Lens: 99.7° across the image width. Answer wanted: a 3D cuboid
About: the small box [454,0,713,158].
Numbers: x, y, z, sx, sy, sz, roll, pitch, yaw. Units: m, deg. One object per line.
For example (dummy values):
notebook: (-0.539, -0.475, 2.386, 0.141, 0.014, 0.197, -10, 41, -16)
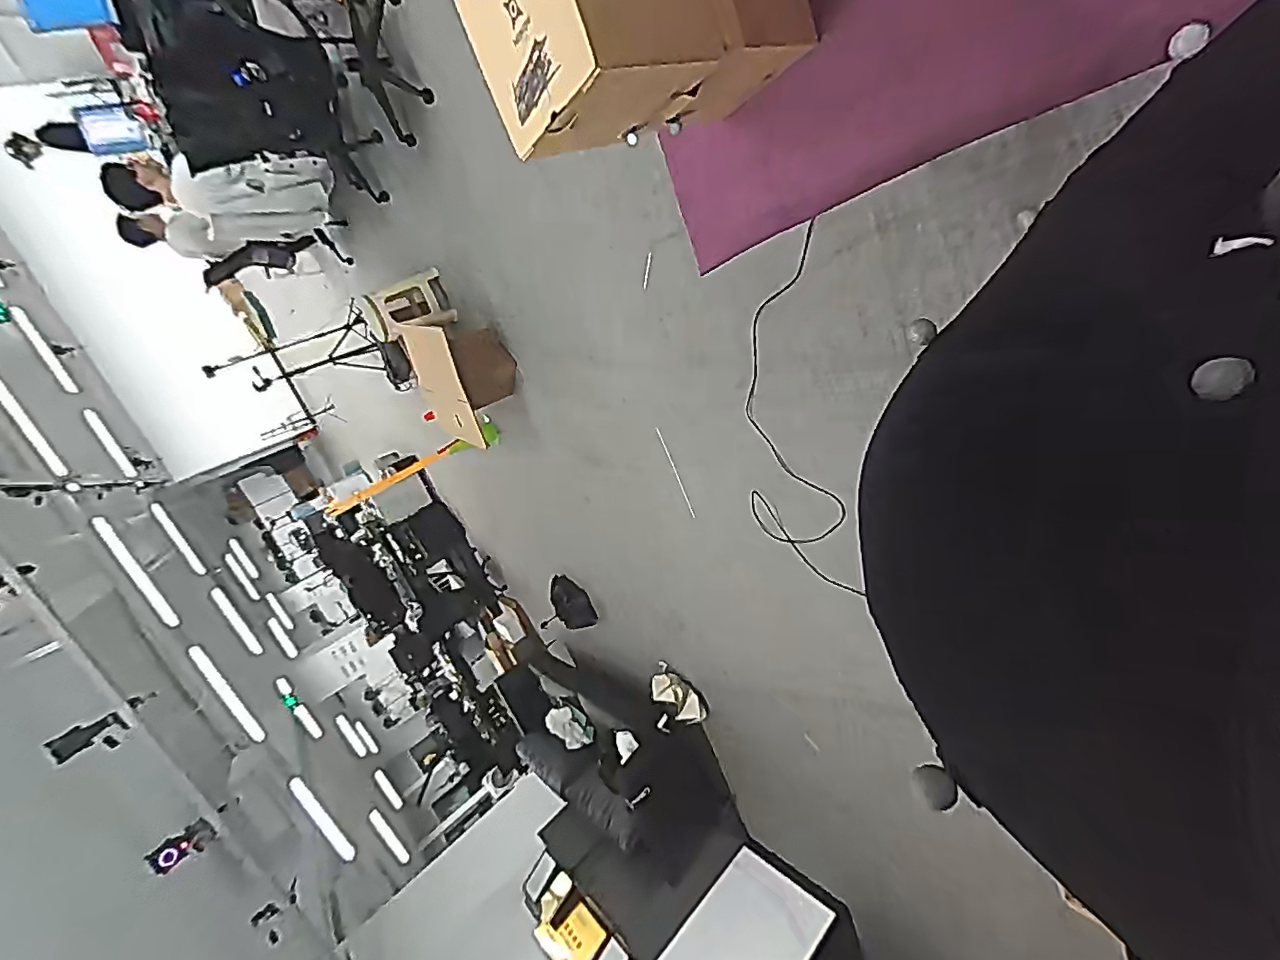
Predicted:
small box: (-0.053, -0.456, 0.533, 0.168, 0.176, 0.179, 3, 121, 51)
